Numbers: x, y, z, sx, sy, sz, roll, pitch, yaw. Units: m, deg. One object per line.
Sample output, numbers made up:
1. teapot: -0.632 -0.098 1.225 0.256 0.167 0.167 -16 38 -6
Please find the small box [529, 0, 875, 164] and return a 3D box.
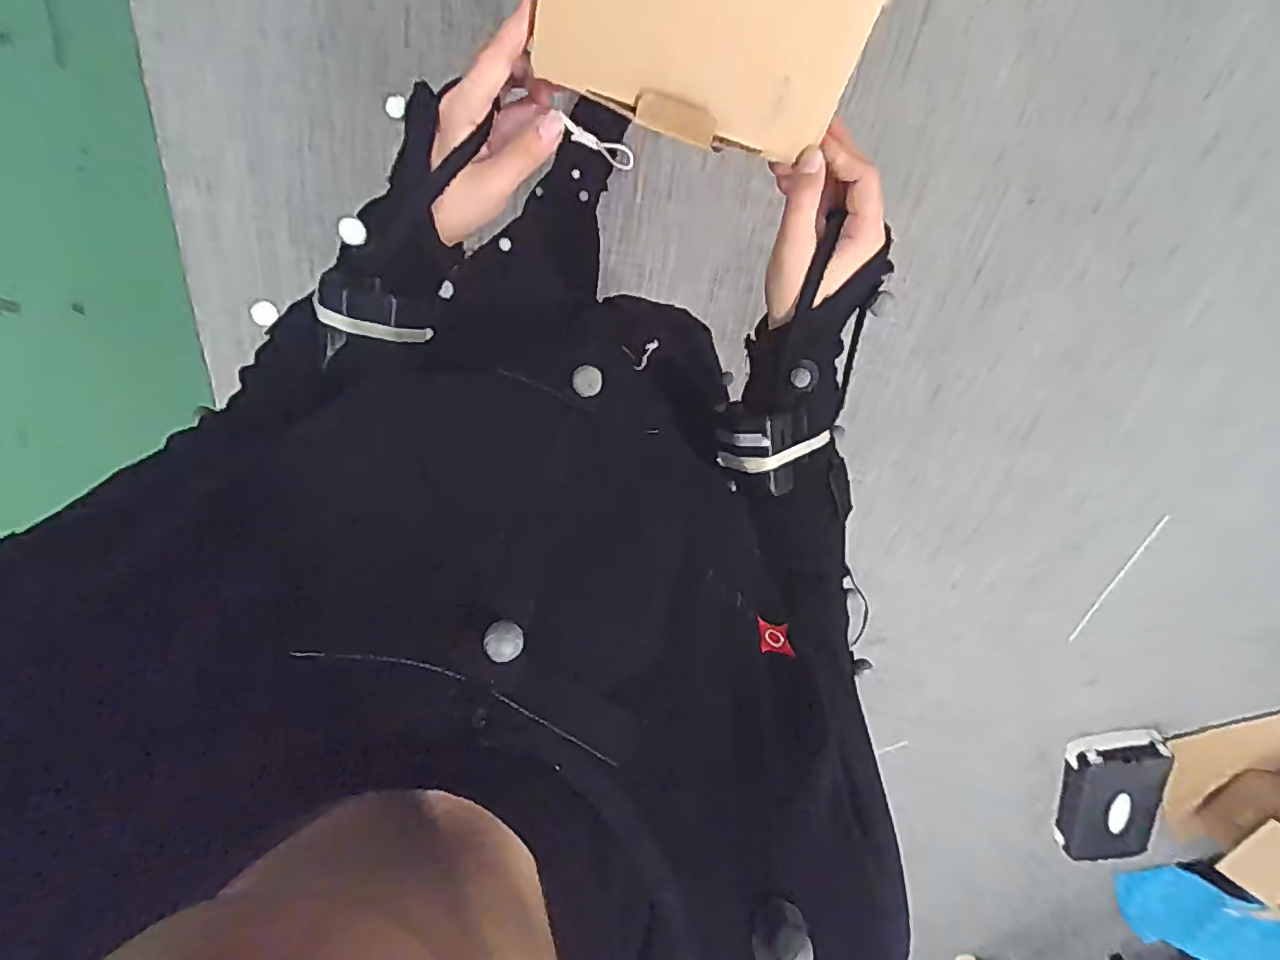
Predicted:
1. small box: 0.045 -0.315 0.306 0.168 0.176 0.179 13 130 -9
